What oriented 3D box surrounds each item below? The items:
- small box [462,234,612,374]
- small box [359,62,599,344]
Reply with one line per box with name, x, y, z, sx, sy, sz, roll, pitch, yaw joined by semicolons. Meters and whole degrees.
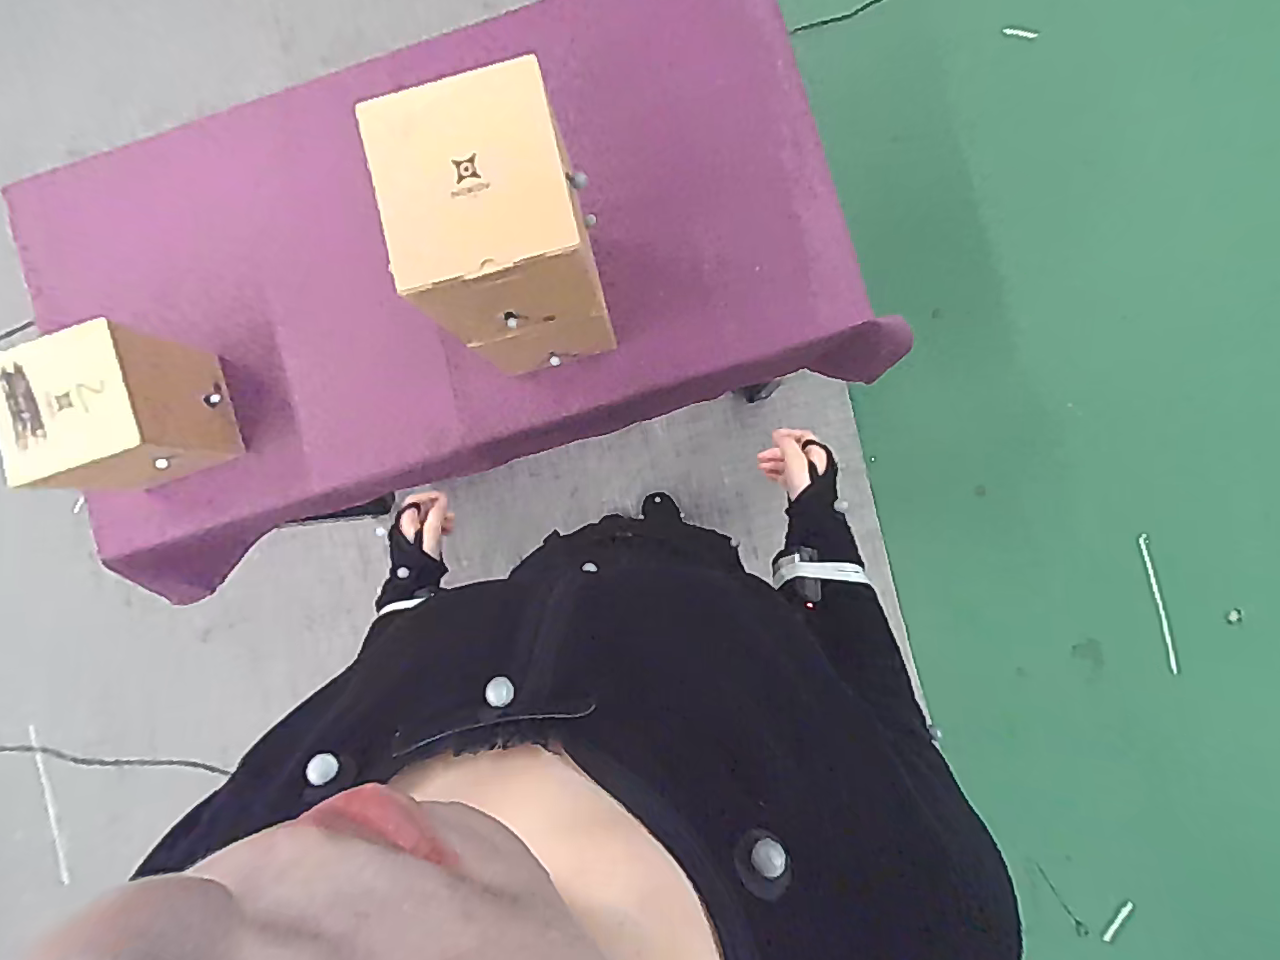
small box;-0.140;-0.255;0.709;0.168;0.176;0.179;-14;89;3
small box;-0.145;-0.258;0.546;0.168;0.176;0.179;-14;90;2
